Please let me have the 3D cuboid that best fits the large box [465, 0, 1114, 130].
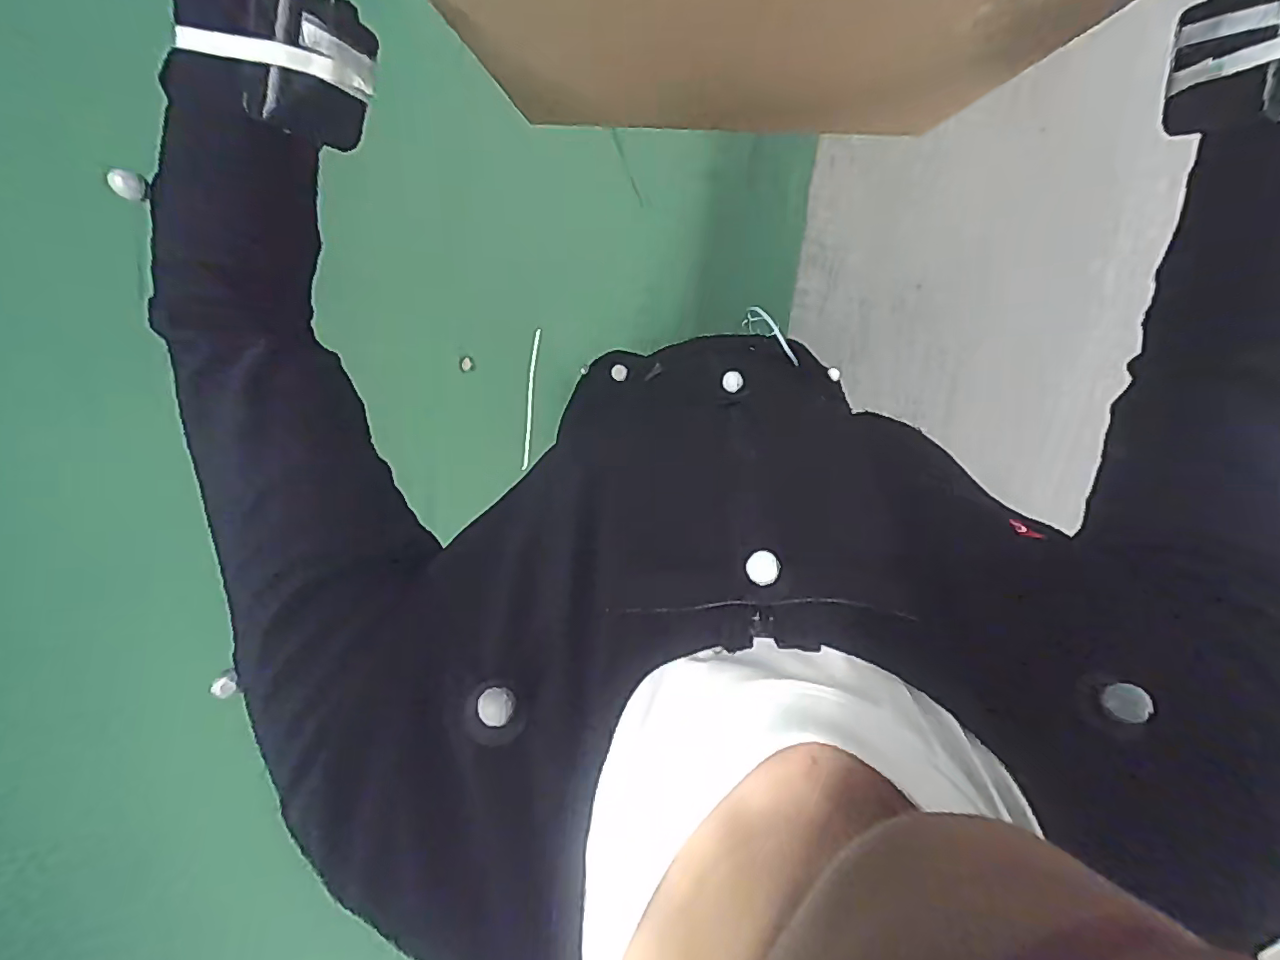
[{"bbox_3d":[0.091,-0.458,0.363,0.408,0.320,0.320,3,109,1],"label":"large box"}]
